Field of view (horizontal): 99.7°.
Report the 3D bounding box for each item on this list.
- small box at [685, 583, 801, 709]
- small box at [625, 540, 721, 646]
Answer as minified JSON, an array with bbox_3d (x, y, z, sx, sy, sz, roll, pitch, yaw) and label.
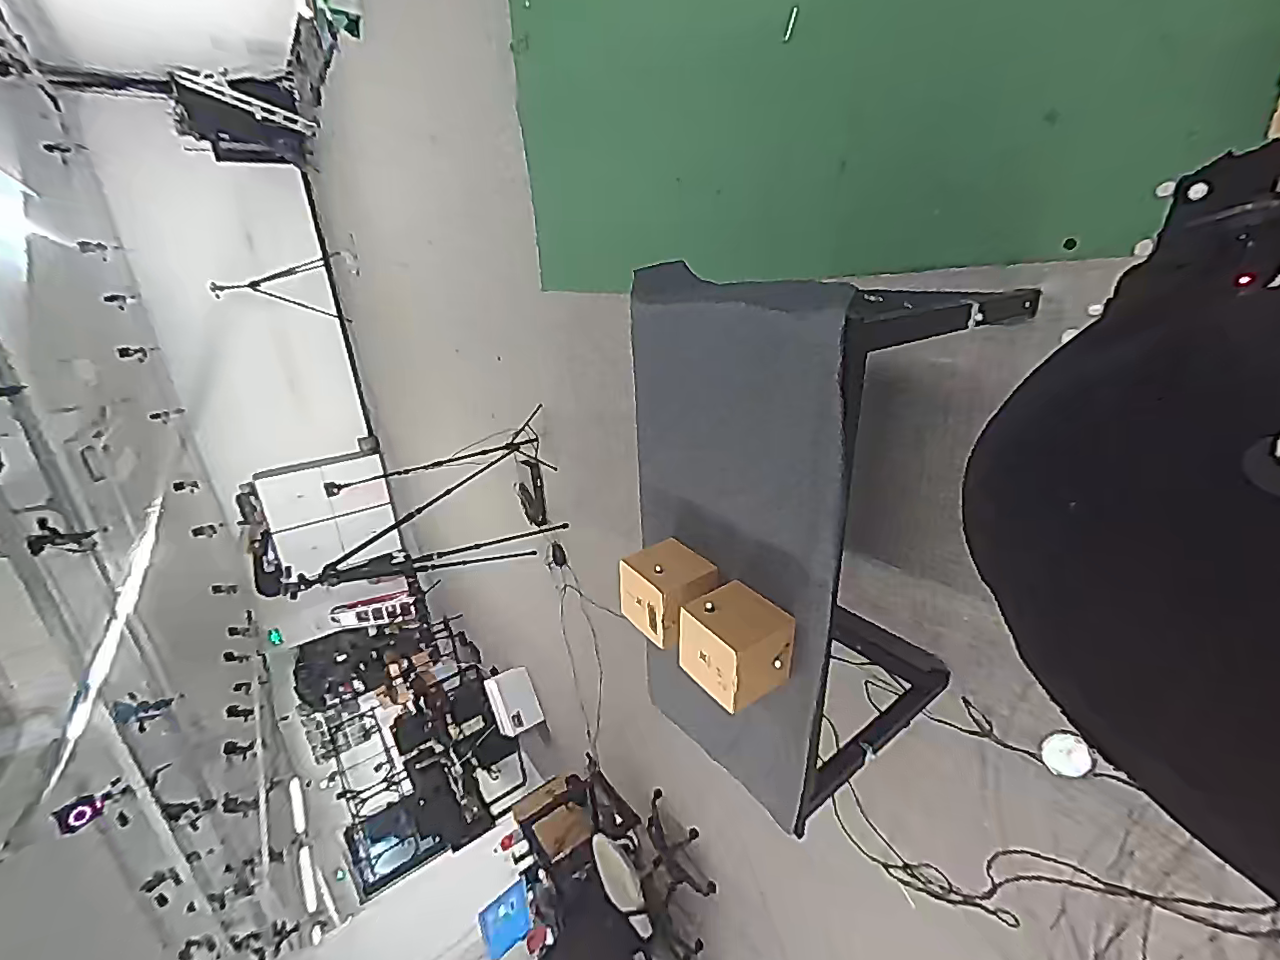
[{"bbox_3d":[0.217,0.342,1.161,0.179,0.176,0.168,29,129,48],"label":"small box"},{"bbox_3d":[0.082,0.267,1.329,0.179,0.176,0.168,29,128,47],"label":"small box"}]
